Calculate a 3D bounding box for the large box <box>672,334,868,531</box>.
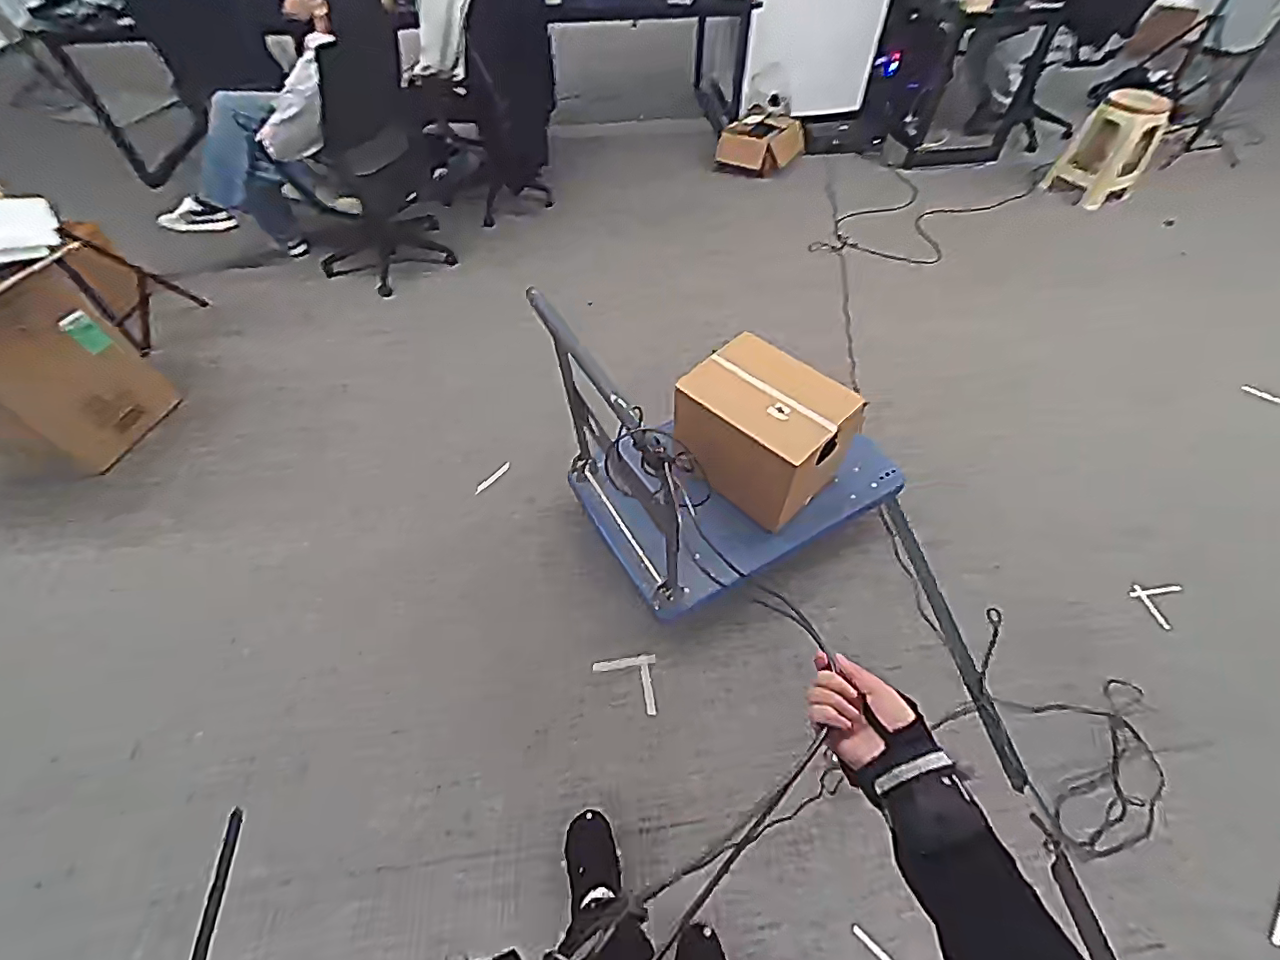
[{"bbox_3d":[0.339,-0.138,1.523,0.320,0.320,0.408,-39,62,-23],"label":"large box"}]
